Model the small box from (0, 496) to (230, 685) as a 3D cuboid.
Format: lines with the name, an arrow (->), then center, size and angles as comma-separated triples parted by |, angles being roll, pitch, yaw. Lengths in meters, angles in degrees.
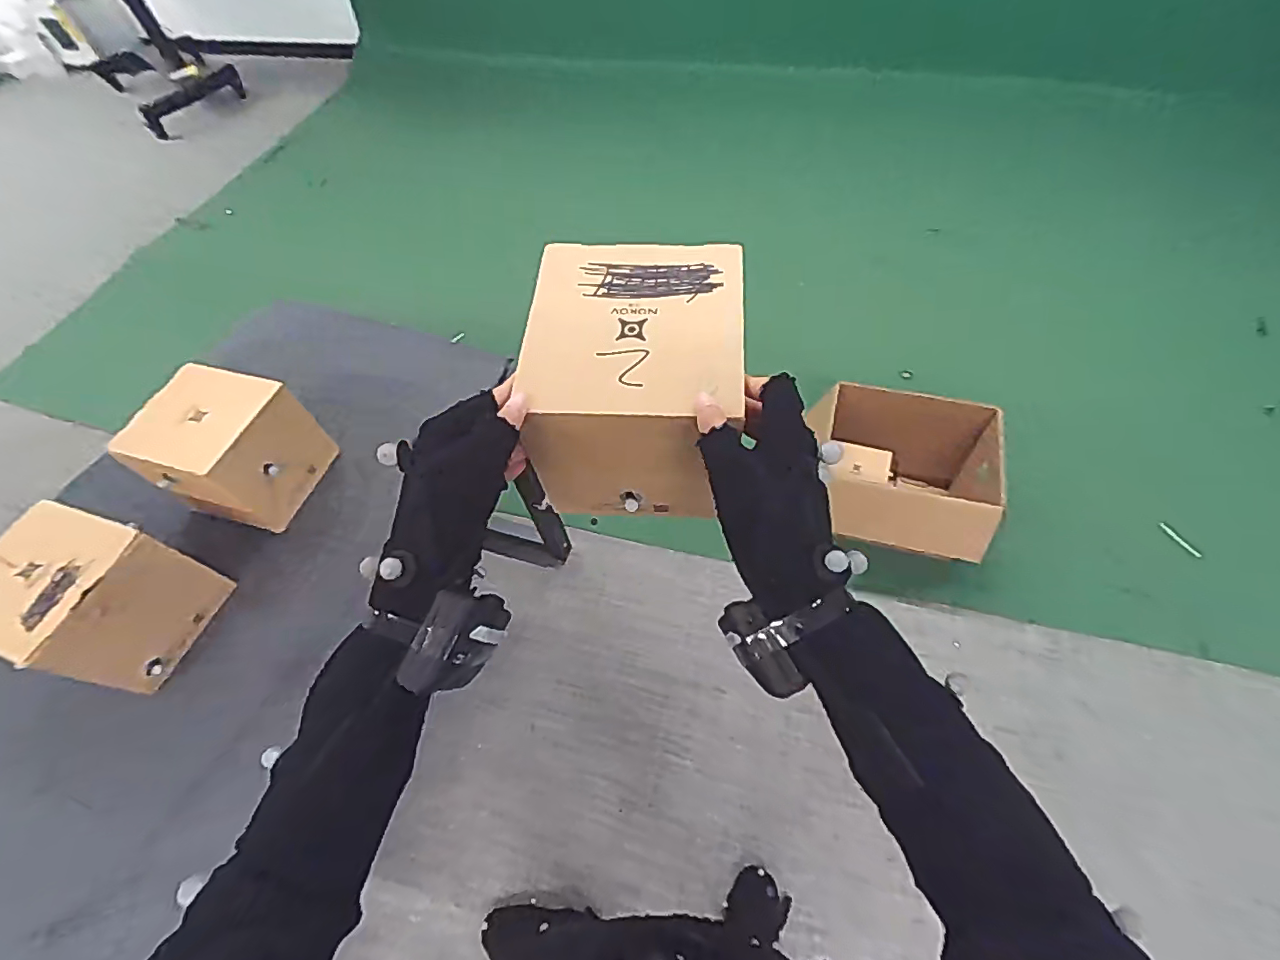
small box -> -0.693, 0.149, 0.695 | 0.179, 0.176, 0.168 | 14, 60, 14

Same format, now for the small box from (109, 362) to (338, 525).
small box -> -0.606, -0.049, 0.816 | 0.179, 0.176, 0.168 | 12, 60, 12
